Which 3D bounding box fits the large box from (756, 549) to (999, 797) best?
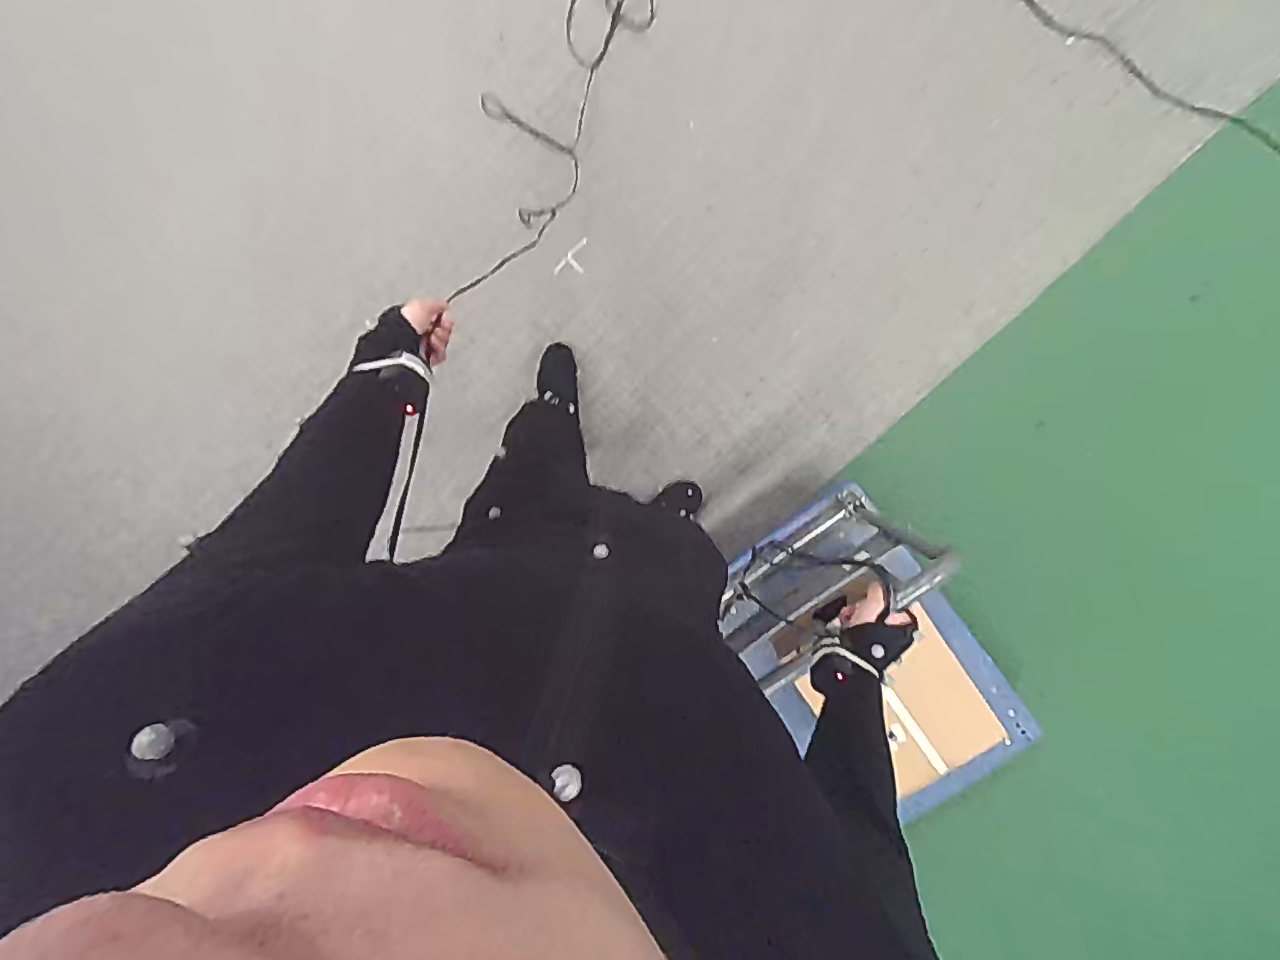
[{"bbox_3d":[0.538,0.438,1.306,0.320,0.320,0.408,-35,94,8],"label":"large box"}]
